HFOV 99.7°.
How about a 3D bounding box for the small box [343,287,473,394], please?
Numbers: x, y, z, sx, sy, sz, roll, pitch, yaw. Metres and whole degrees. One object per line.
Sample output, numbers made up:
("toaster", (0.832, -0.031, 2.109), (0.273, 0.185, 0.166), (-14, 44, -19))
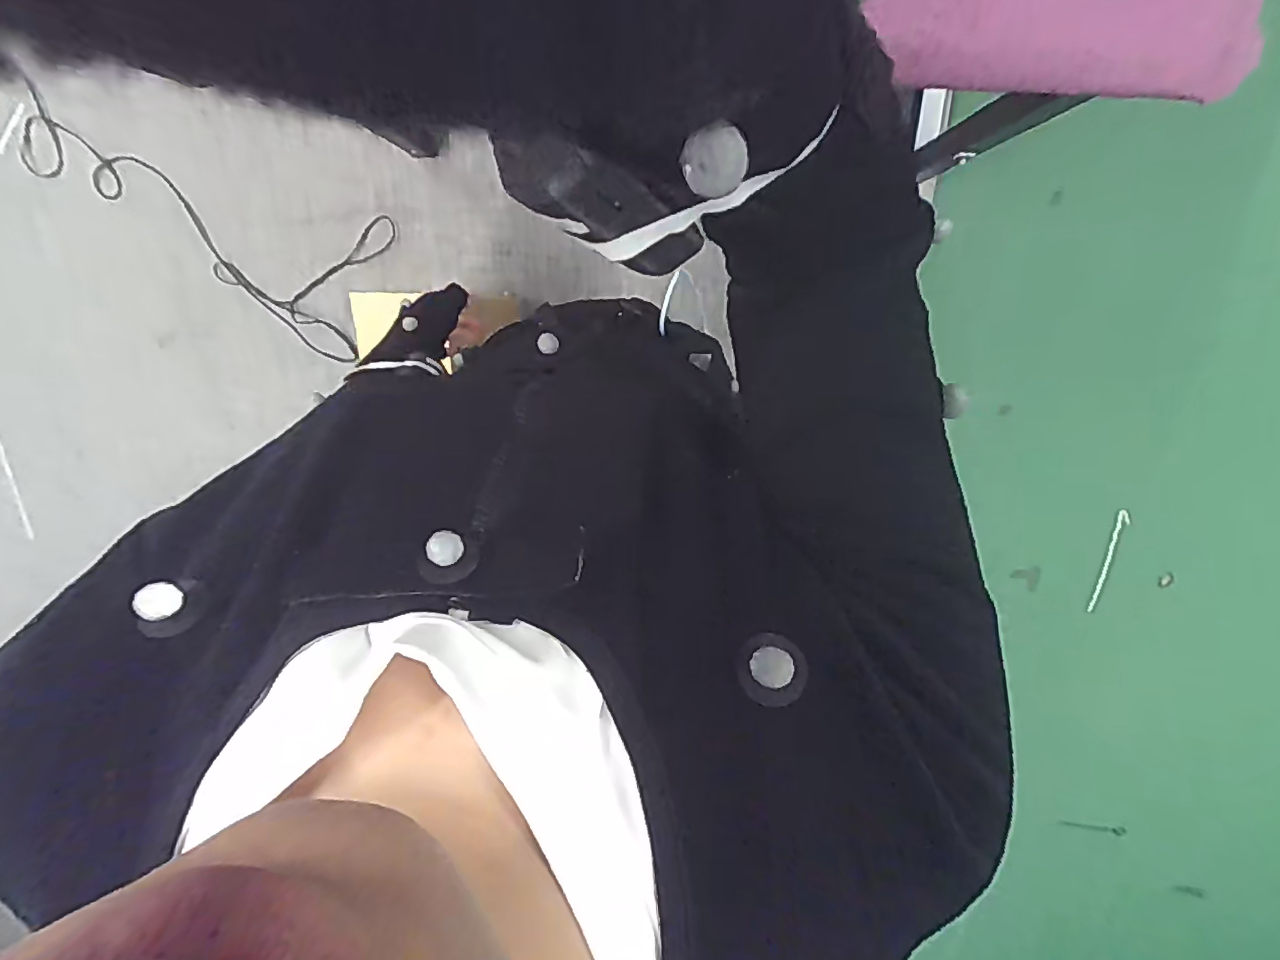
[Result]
("small box", (-0.421, -0.265, 1.010), (0.168, 0.176, 0.179), (2, 110, 1))

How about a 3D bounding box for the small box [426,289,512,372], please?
("small box", (-0.414, -0.368, 1.321), (0.168, 0.176, 0.179), (5, 109, 0))
